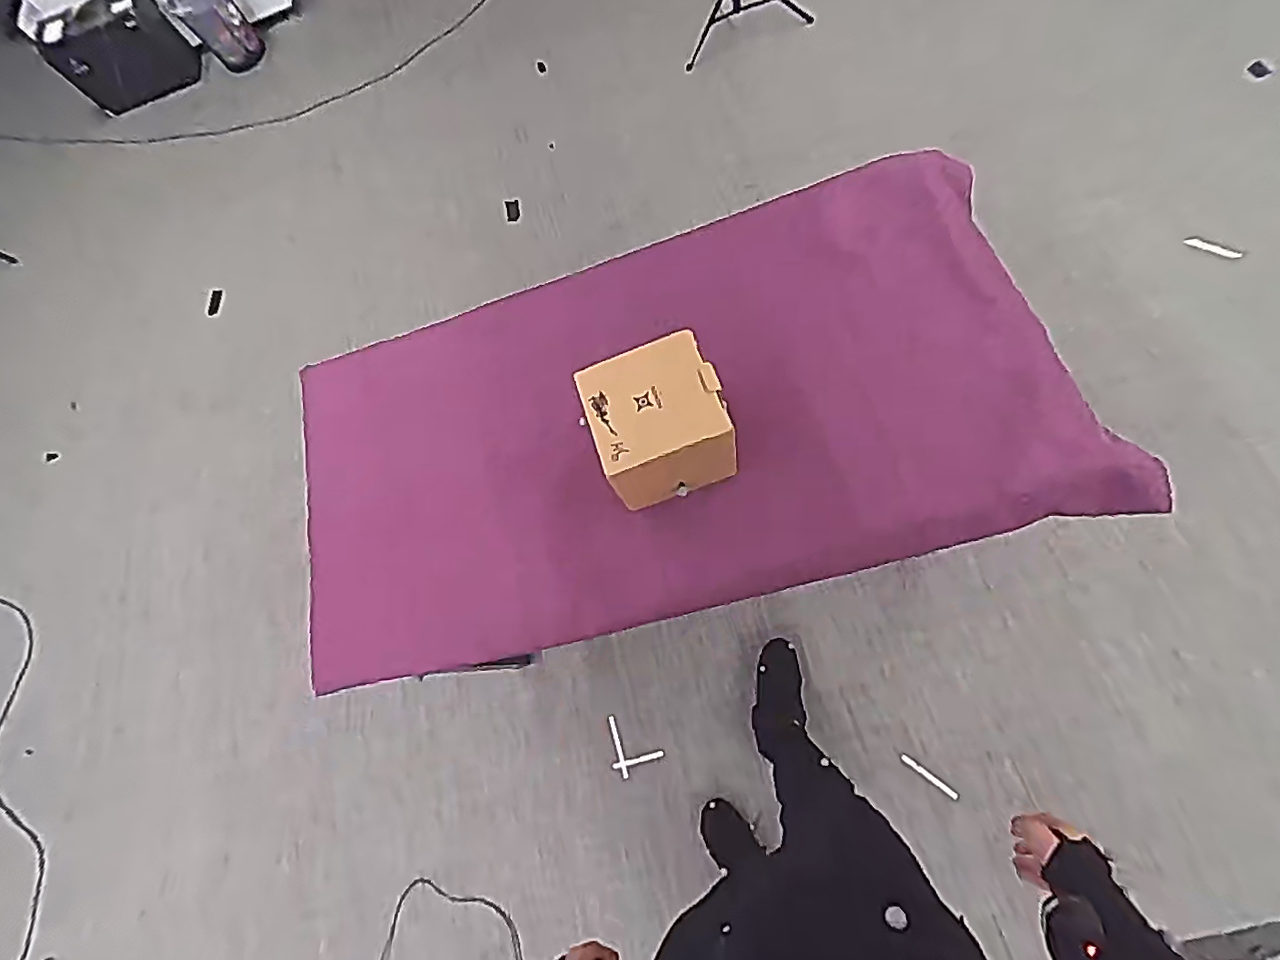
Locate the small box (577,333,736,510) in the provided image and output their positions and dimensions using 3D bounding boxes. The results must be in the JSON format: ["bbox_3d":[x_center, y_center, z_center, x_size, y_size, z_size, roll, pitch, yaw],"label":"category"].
[{"bbox_3d":[0.030,-0.075,0.784,0.179,0.176,0.168,-20,68,3],"label":"small box"}]
